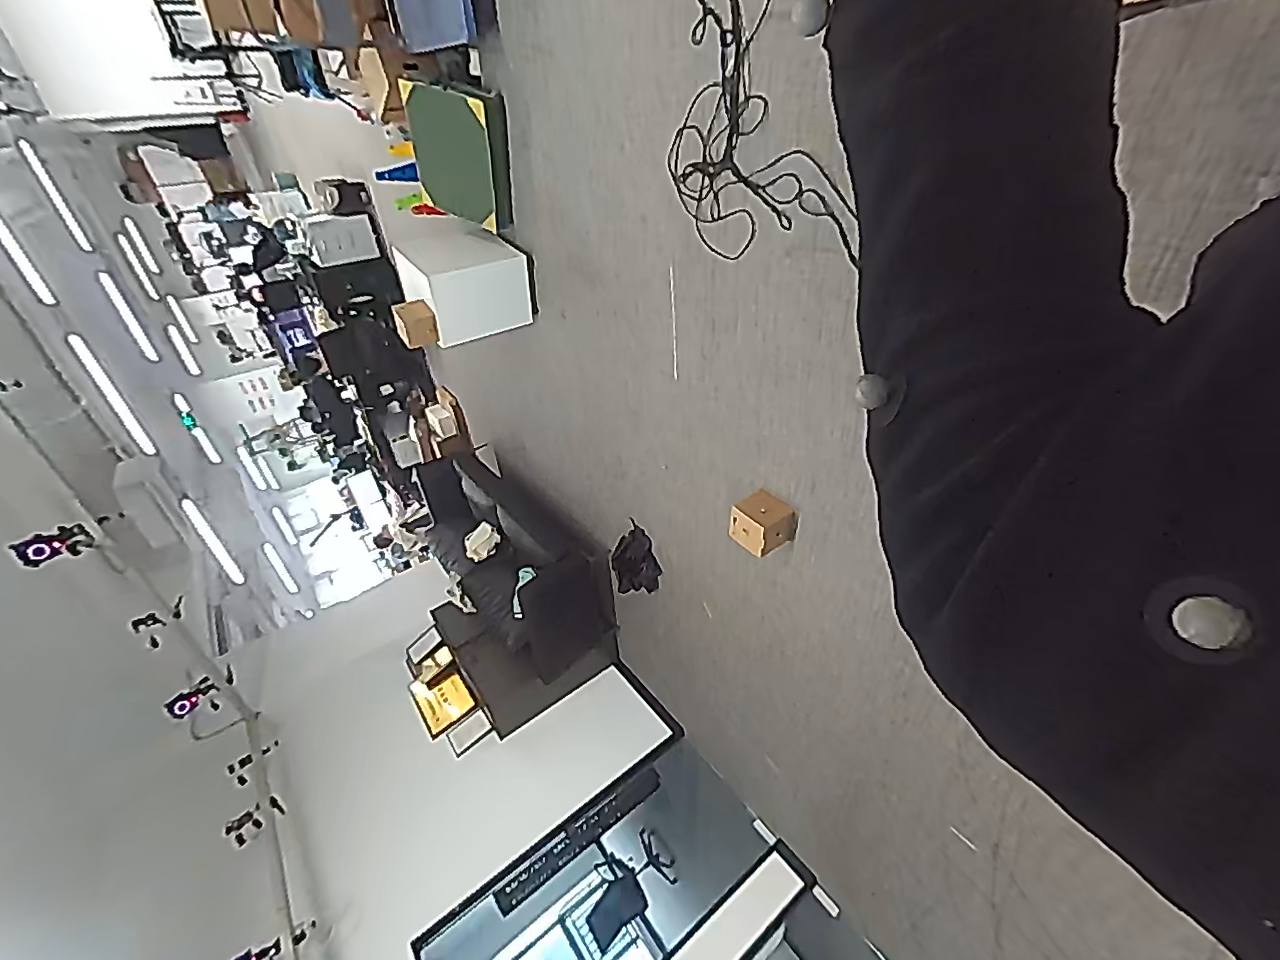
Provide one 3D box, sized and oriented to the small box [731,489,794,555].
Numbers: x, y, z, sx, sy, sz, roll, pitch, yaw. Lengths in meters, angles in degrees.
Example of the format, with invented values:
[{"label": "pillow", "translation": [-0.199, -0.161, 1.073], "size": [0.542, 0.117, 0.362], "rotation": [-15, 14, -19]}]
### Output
[{"label": "small box", "translation": [0.489, 0.161, 2.158], "size": [0.179, 0.176, 0.168], "rotation": [37, 142, 39]}]
